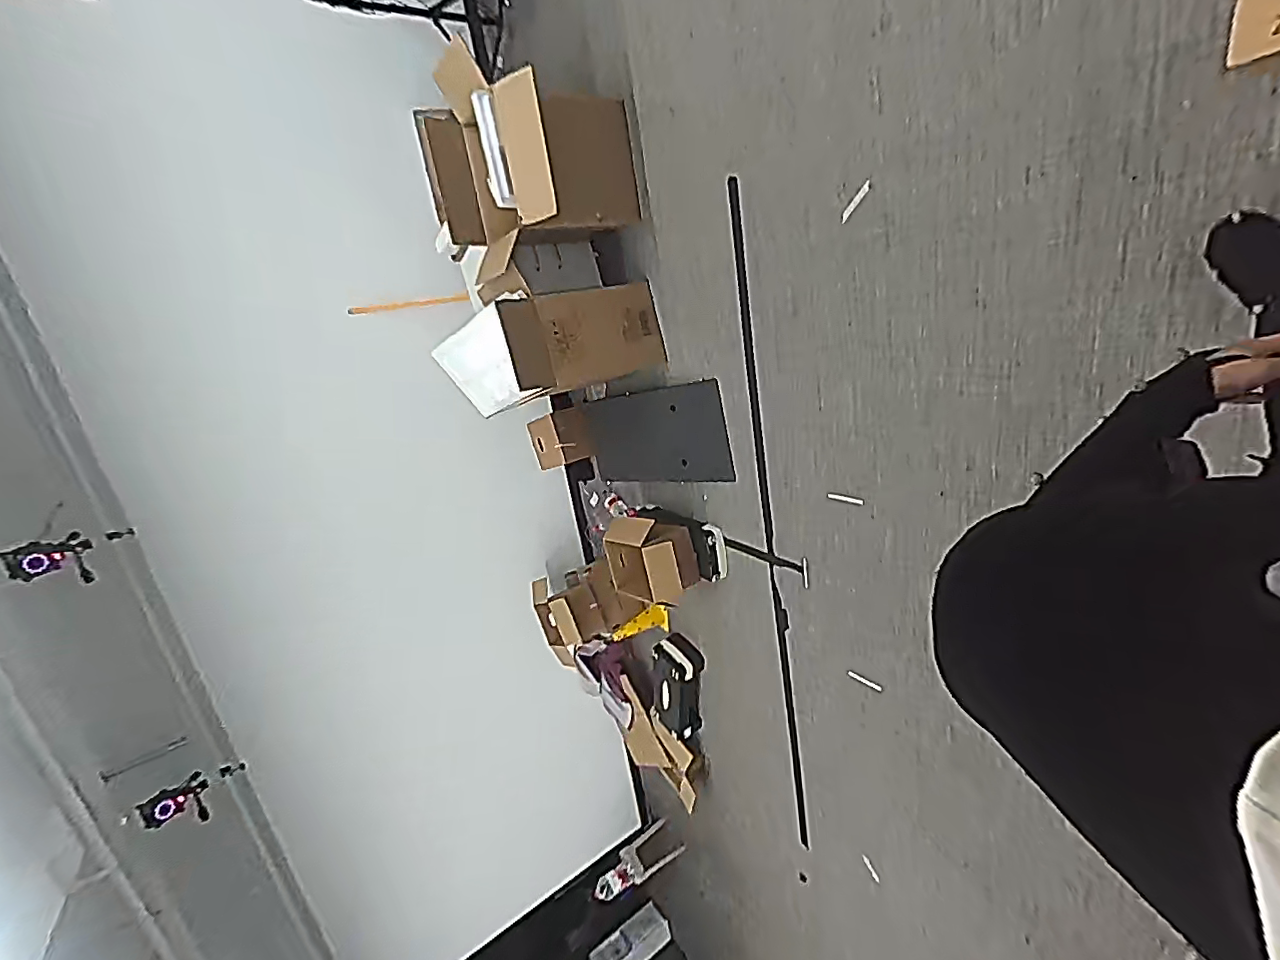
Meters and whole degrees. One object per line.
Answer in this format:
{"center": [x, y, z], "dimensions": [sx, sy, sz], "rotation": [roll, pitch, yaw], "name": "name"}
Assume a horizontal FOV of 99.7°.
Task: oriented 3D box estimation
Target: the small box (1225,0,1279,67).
{"center": [0.978, -0.718, 0.759], "dimensions": [0.168, 0.176, 0.179], "rotation": [20, 124, 55], "name": "small box"}
